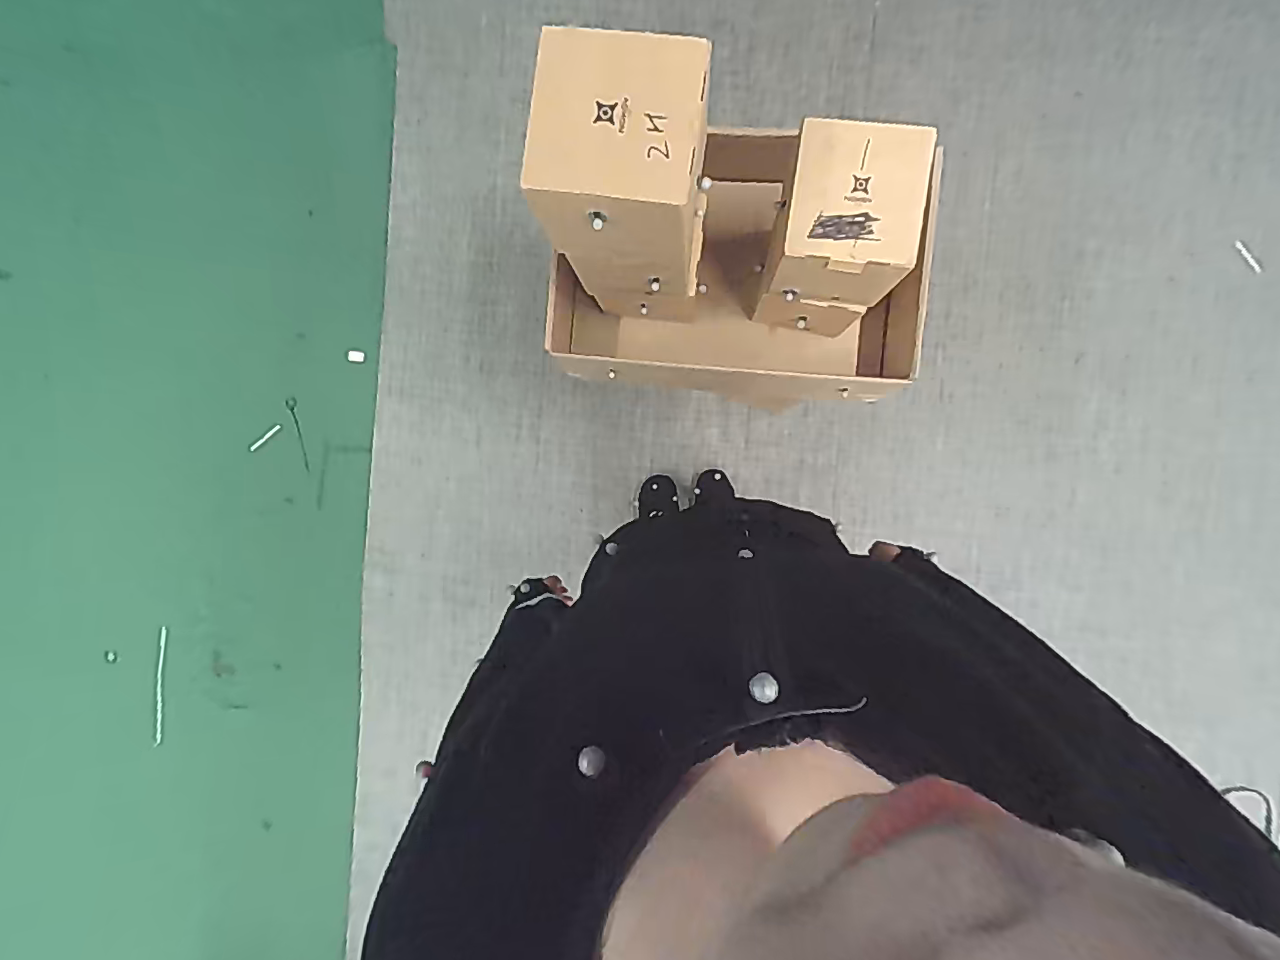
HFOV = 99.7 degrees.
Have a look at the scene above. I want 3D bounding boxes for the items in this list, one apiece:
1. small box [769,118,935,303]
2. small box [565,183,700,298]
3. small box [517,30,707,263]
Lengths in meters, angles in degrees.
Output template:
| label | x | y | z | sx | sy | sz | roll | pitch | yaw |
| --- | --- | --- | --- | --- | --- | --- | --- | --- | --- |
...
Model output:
| label | x | y | z | sx | sy | sz | roll | pitch | yaw |
| --- | --- | --- | --- | --- | --- | --- | --- | --- | --- |
| small box | 0.282 | -0.364 | 0.759 | 0.168 | 0.176 | 0.179 | 9 | 91 | 6 |
| small box | -0.003 | -0.379 | 0.791 | 0.168 | 0.176 | 0.179 | 6 | 91 | 5 |
| small box | -0.022 | -0.369 | 0.627 | 0.179 | 0.176 | 0.168 | 9 | 93 | 5 |
